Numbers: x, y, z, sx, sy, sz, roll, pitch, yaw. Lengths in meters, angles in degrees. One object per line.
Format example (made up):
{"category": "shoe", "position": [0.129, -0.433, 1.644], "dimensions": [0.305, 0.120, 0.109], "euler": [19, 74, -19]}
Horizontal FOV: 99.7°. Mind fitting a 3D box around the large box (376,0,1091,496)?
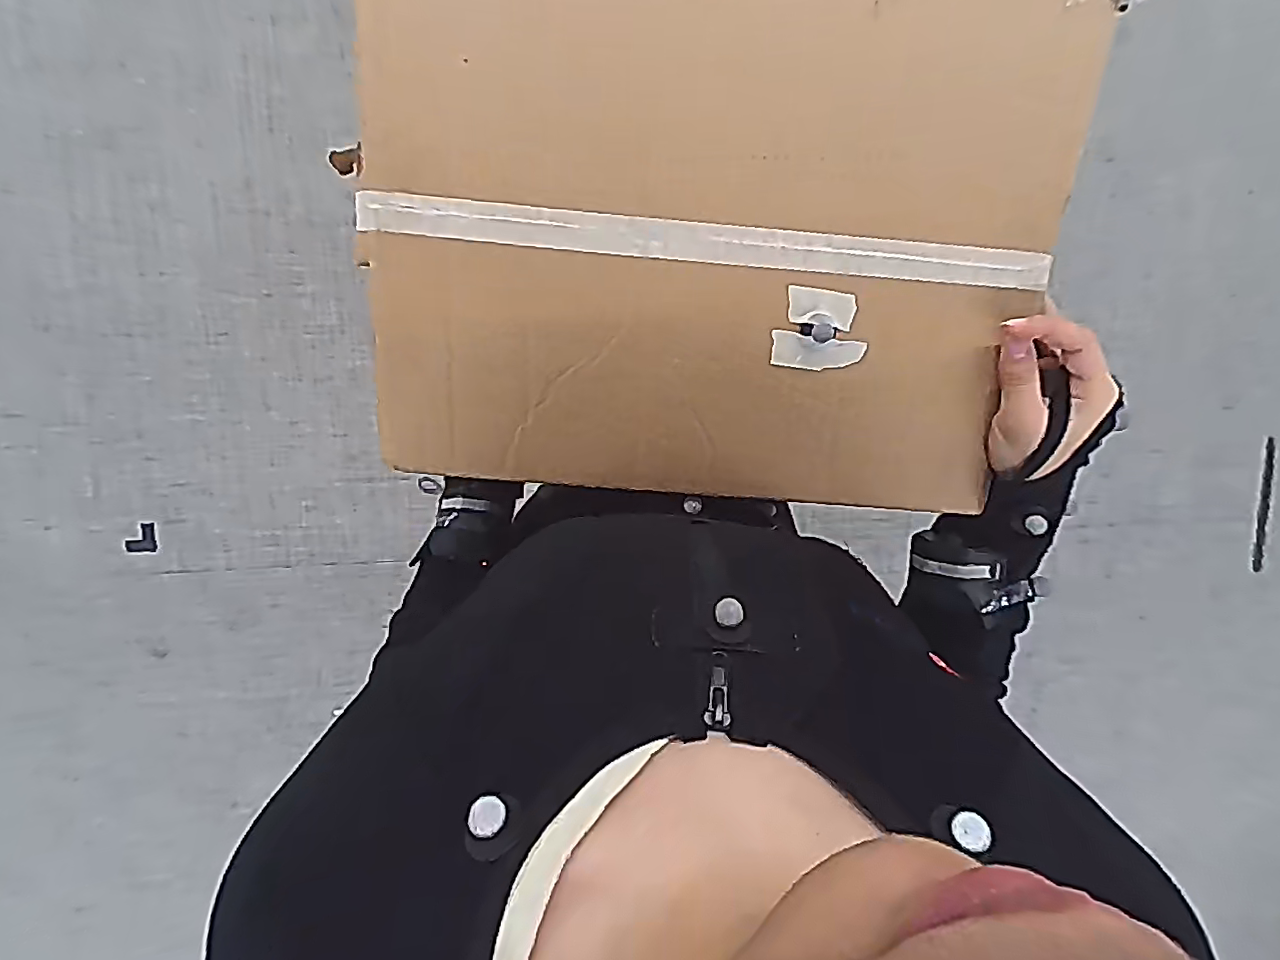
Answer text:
{"category": "large box", "position": [0.041, -0.183, 0.474], "dimensions": [0.408, 0.320, 0.320], "euler": [3, 107, -4]}
